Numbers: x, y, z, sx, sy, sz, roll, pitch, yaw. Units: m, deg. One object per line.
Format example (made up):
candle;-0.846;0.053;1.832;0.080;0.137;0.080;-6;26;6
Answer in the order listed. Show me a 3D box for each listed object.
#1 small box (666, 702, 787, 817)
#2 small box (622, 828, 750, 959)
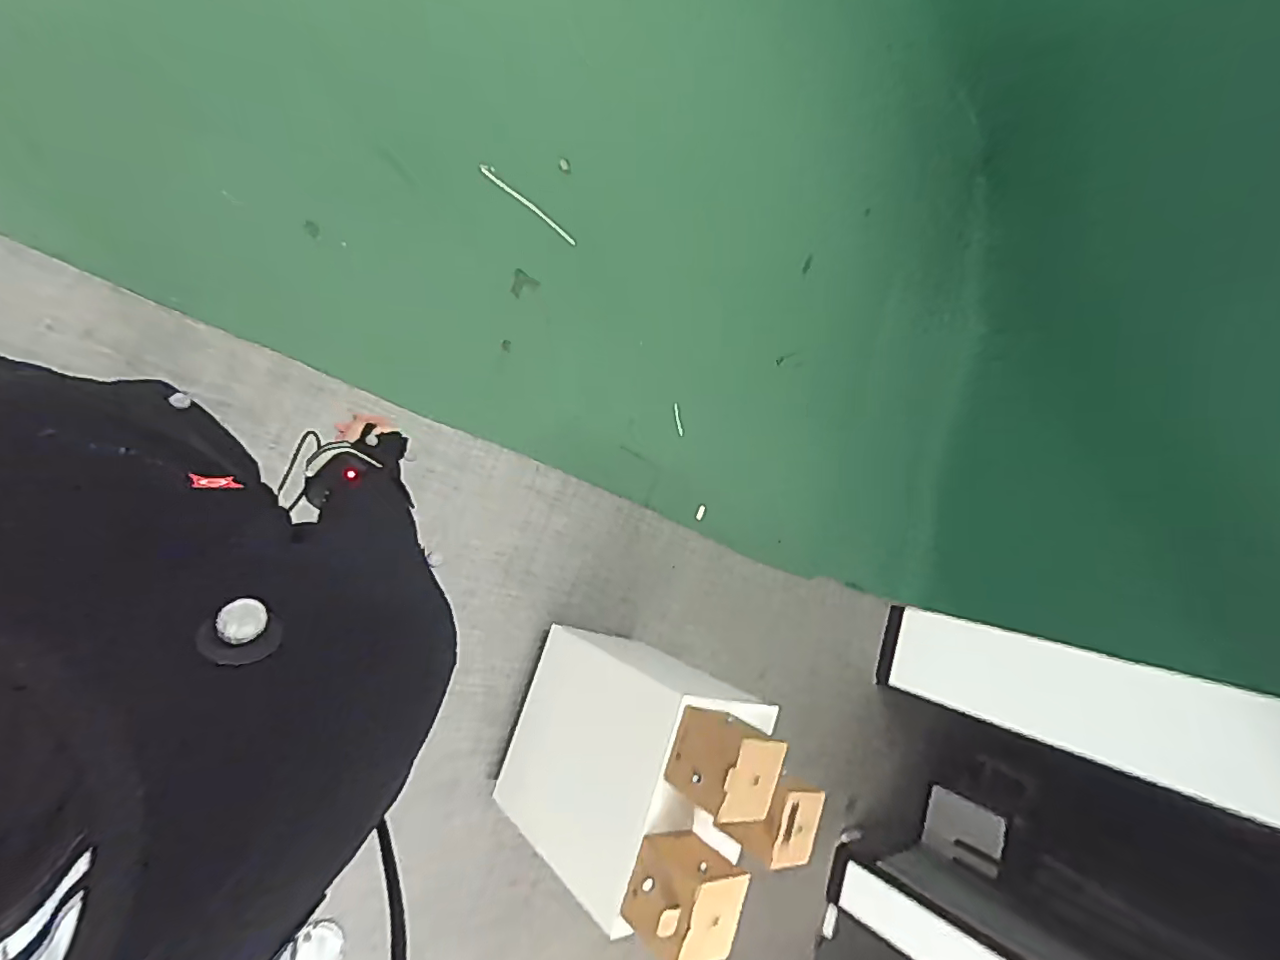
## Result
small box;0.185;0.602;1.178;0.179;0.176;0.168;28;79;-41
small box;0.095;0.859;1.131;0.179;0.176;0.168;27;77;-40
